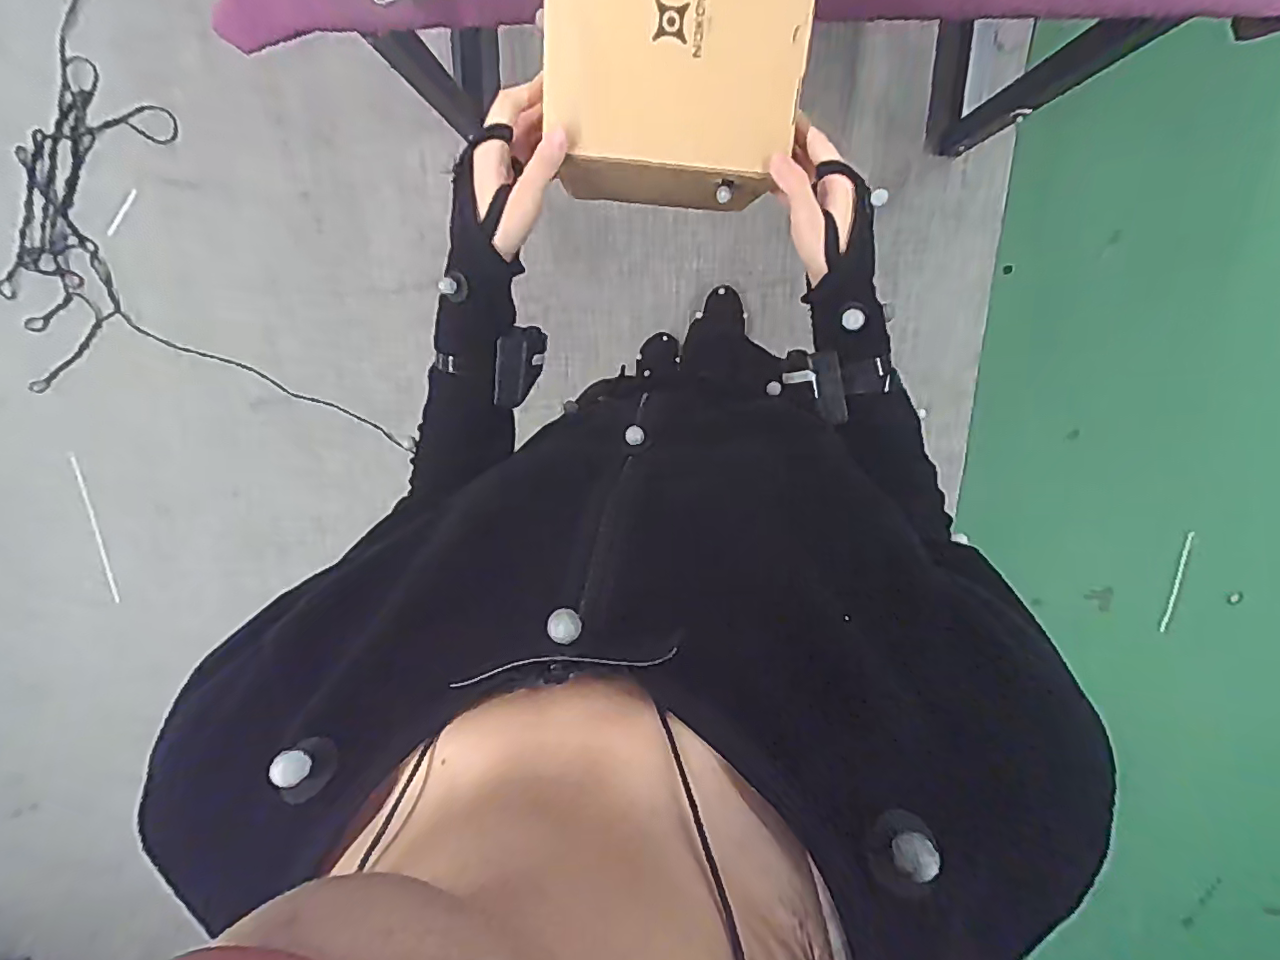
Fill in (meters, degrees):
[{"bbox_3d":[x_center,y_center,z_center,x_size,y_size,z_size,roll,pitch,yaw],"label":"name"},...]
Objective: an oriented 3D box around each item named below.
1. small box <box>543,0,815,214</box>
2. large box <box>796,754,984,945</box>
[{"bbox_3d":[0.022,-0.317,0.427,0.179,0.176,0.168,3,108,-5],"label":"small box"},{"bbox_3d":[0.729,1.094,1.627,0.408,0.320,0.320,-14,105,4],"label":"large box"}]
